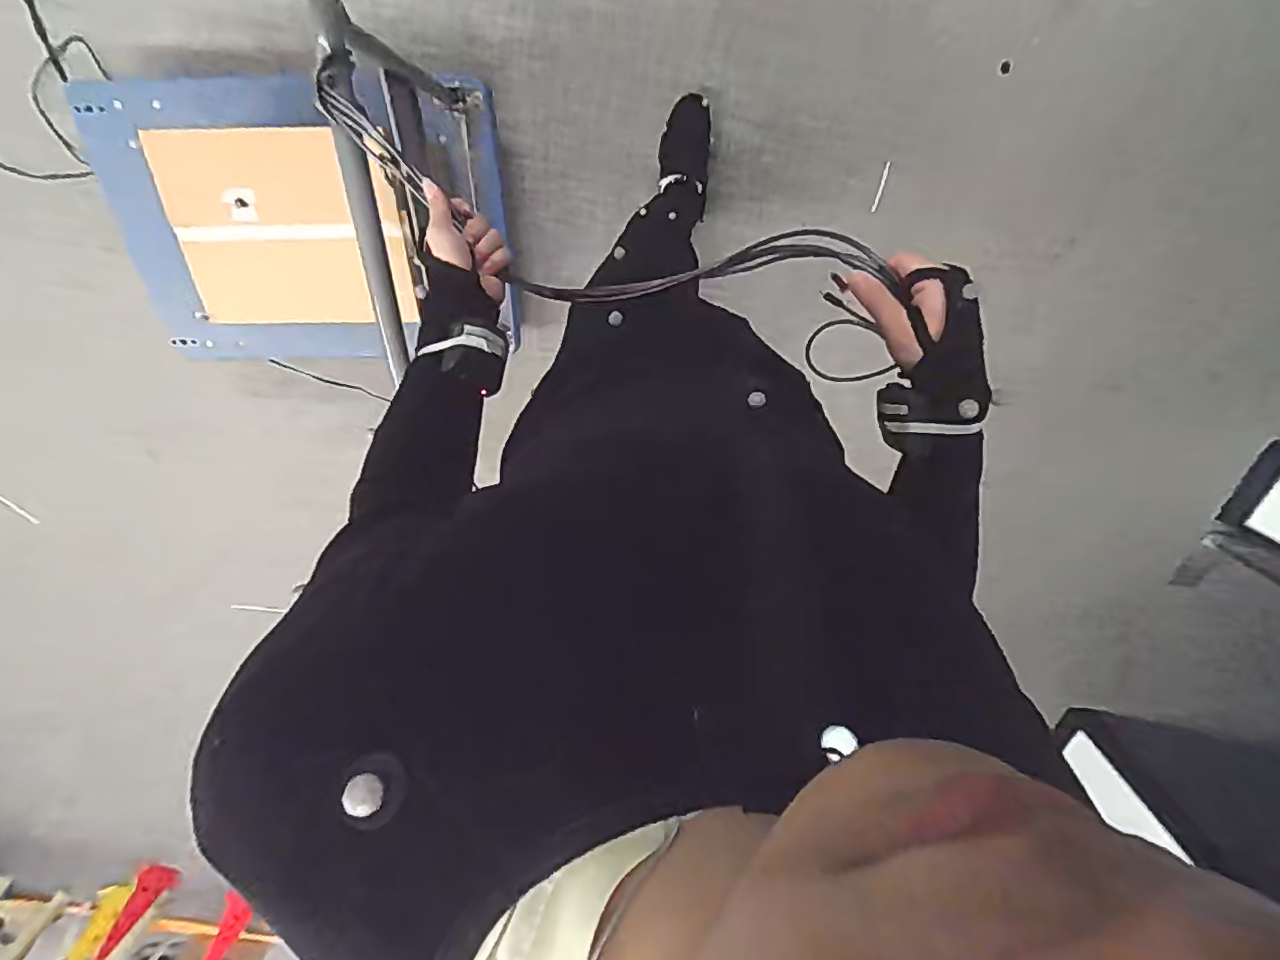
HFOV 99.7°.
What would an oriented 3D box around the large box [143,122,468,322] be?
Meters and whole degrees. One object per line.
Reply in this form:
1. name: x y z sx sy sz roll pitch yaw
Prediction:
1. large box: -0.606 -0.505 1.073 0.408 0.320 0.320 0 117 1
